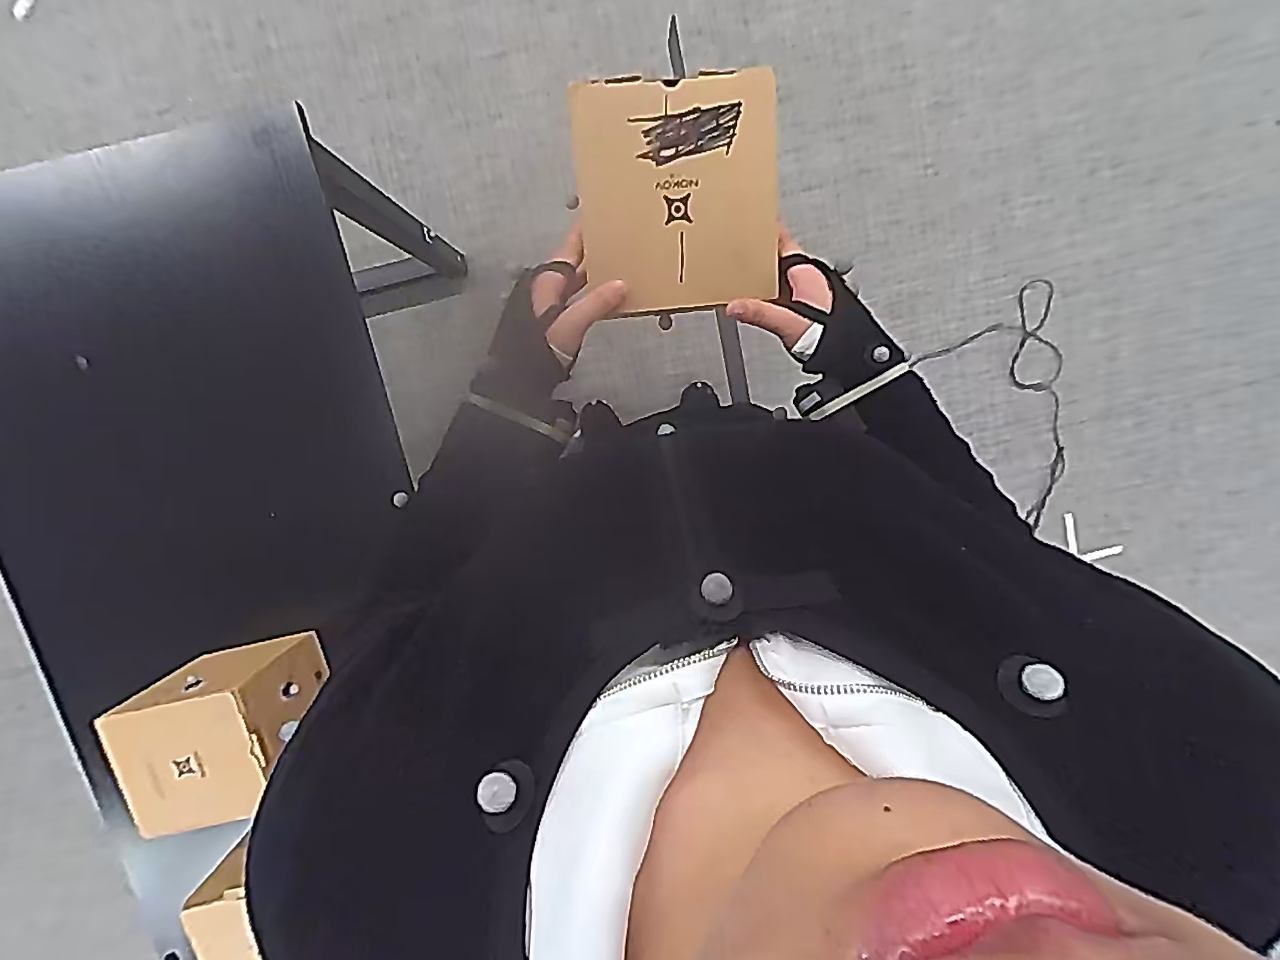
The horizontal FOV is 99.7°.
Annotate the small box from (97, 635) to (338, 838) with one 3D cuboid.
[{"bbox_3d":[-0.538,0.327,0.724,0.179,0.176,0.168,-13,98,2],"label":"small box"}]

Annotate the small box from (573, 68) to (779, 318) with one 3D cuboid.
[{"bbox_3d":[0.027,-0.254,0.519,0.168,0.176,0.179,-5,106,-2],"label":"small box"}]
